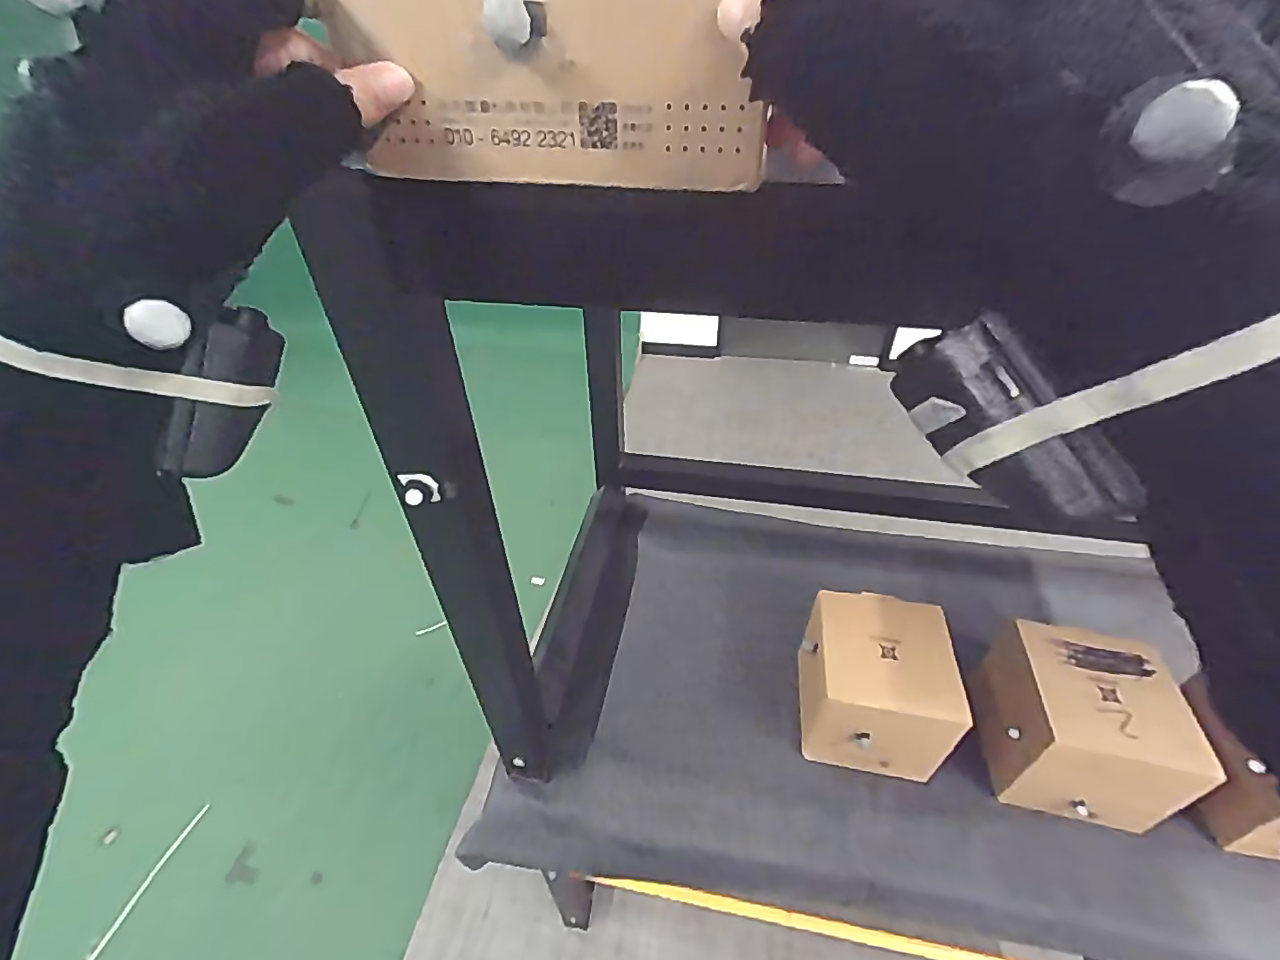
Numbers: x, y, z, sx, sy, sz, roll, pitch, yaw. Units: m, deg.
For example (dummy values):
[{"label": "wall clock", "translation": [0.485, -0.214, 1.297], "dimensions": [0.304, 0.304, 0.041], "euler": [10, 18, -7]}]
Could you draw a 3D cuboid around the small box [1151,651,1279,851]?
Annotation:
[{"label": "small box", "translation": [0.806, 0.343, 0.666], "dimensions": [0.168, 0.176, 0.179], "euler": [6, 39, 8]}]

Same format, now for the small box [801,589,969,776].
[{"label": "small box", "translation": [0.325, 0.283, 0.757], "dimensions": [0.168, 0.176, 0.179], "euler": [7, 40, 9]}]
